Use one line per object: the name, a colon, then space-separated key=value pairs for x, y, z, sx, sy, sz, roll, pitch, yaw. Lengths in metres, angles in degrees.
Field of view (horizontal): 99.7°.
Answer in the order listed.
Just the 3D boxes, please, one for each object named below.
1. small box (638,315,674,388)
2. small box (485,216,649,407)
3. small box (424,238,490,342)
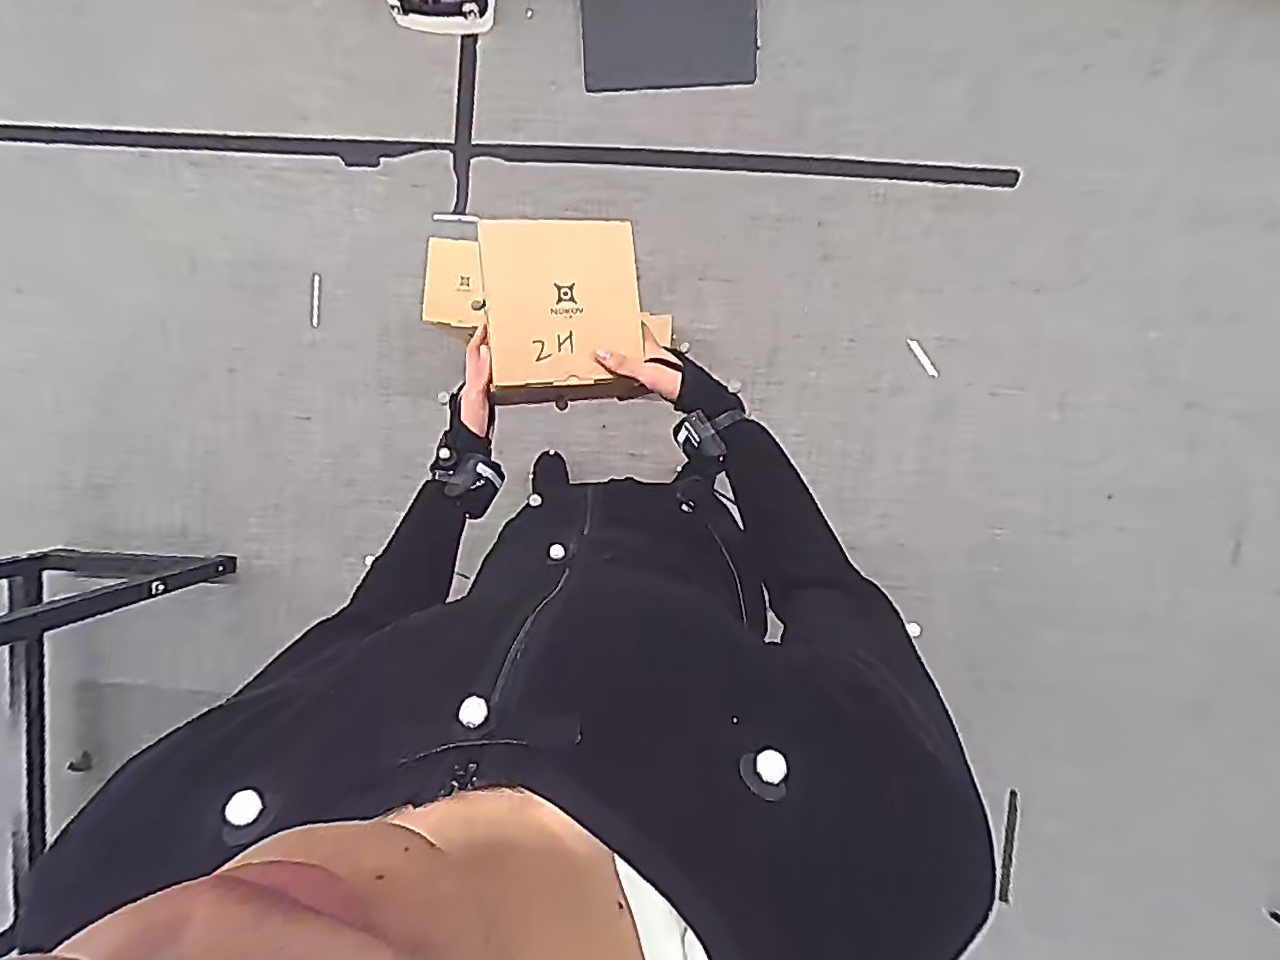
small box: x=0.007 y=-0.357 z=1.518 sx=0.168 sy=0.176 sz=0.179 roll=3 pitch=95 yaw=3
small box: x=-0.095 y=-0.188 z=0.648 sx=0.168 sy=0.176 sz=0.179 roll=-5 pitch=92 yaw=-14
small box: x=-0.358 y=-0.408 z=1.194 sx=0.168 sy=0.176 sz=0.179 roll=6 pitch=94 yaw=0
